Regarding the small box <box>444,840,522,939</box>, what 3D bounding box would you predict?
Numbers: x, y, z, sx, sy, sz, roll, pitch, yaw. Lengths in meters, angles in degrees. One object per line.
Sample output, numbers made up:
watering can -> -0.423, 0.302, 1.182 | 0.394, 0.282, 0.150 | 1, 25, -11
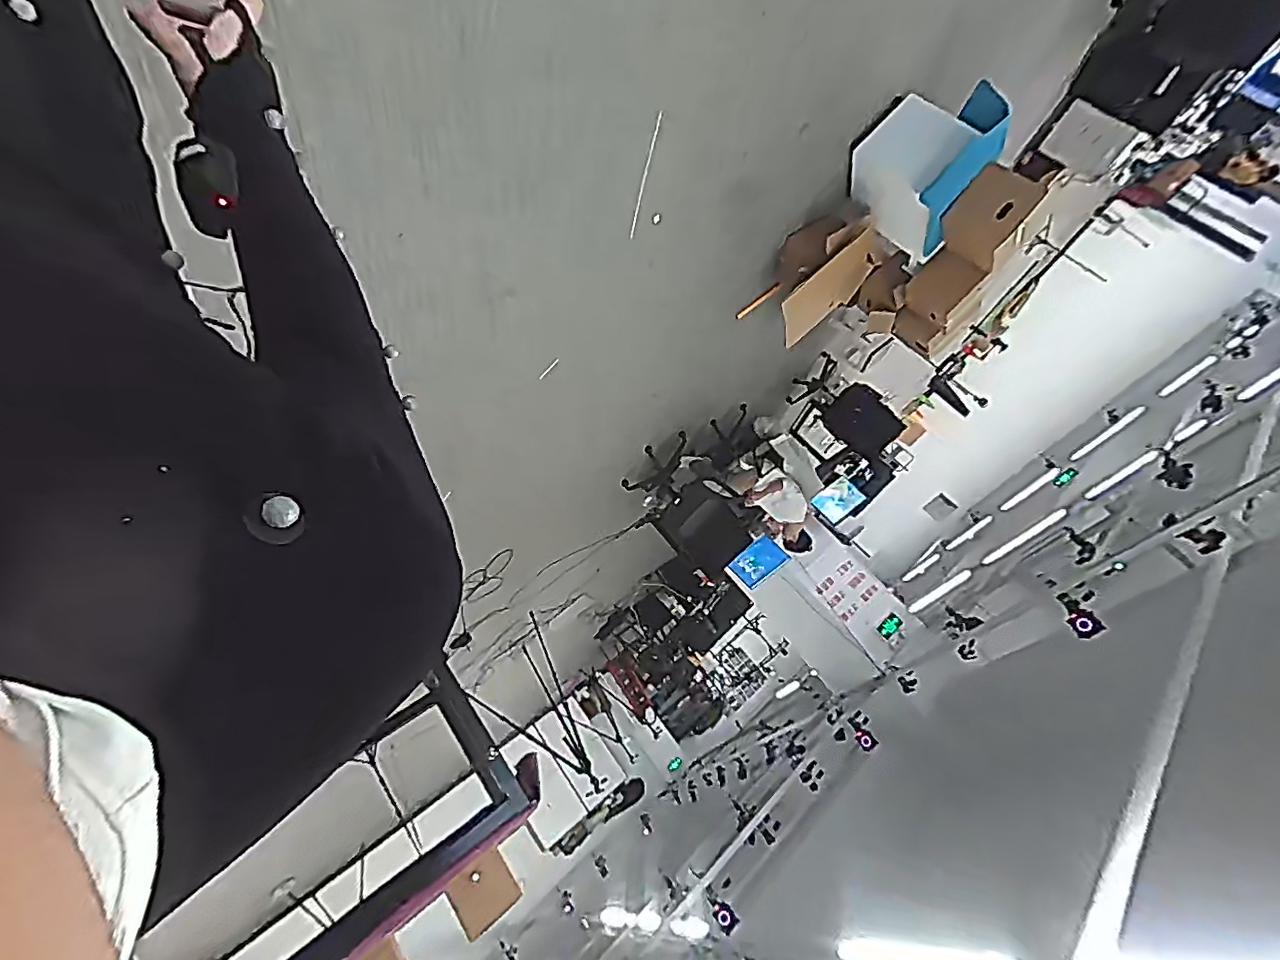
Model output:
small box -> -0.481, 1.235, 1.642 | 0.179, 0.176, 0.168 | -28, 158, -29
